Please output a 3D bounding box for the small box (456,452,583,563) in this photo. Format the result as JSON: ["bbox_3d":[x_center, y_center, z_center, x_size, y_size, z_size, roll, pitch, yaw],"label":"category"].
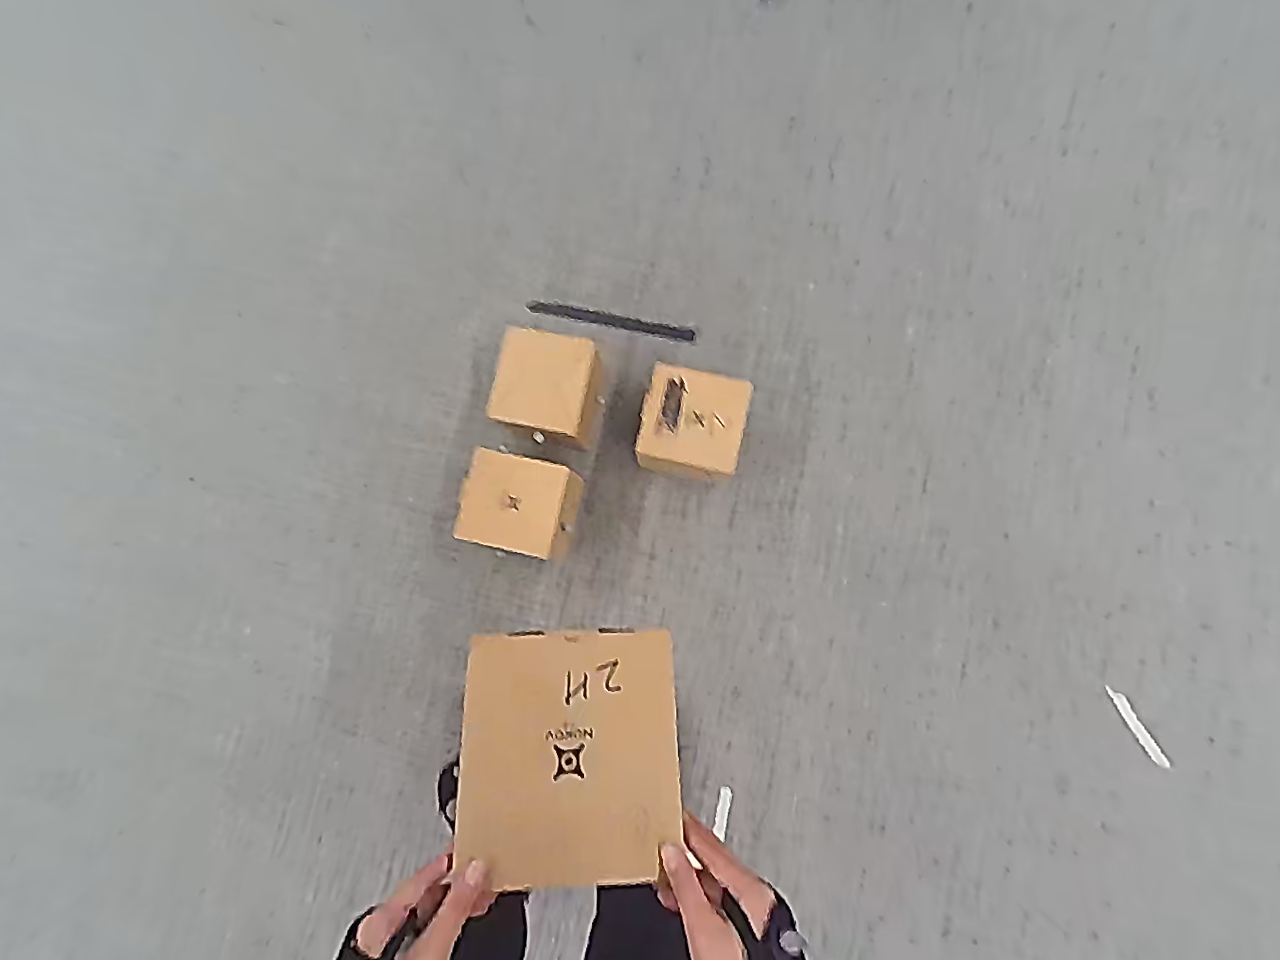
[{"bbox_3d":[-0.217,0.055,1.029,0.179,0.176,0.168,12,84,5],"label":"small box"}]

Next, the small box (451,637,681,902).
[{"bbox_3d":[-0.057,0.238,0.482,0.168,0.176,0.179,-1,68,-4],"label":"small box"}]
